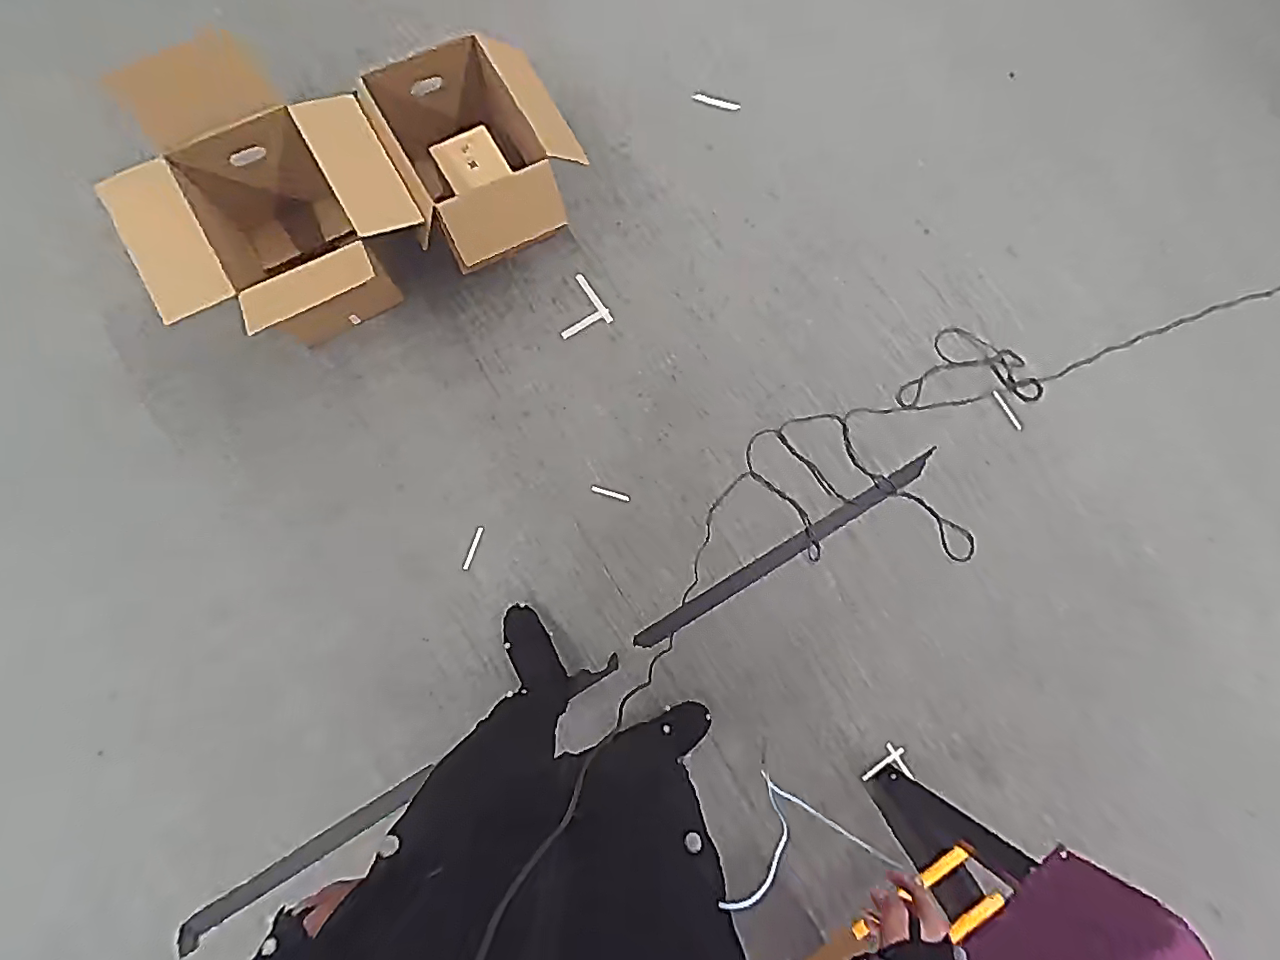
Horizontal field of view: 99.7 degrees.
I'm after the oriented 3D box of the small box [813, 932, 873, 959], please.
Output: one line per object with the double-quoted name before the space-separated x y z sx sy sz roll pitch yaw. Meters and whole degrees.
"small box" 0.466 1.140 1.155 0.179 0.176 0.168 -32 84 -8
